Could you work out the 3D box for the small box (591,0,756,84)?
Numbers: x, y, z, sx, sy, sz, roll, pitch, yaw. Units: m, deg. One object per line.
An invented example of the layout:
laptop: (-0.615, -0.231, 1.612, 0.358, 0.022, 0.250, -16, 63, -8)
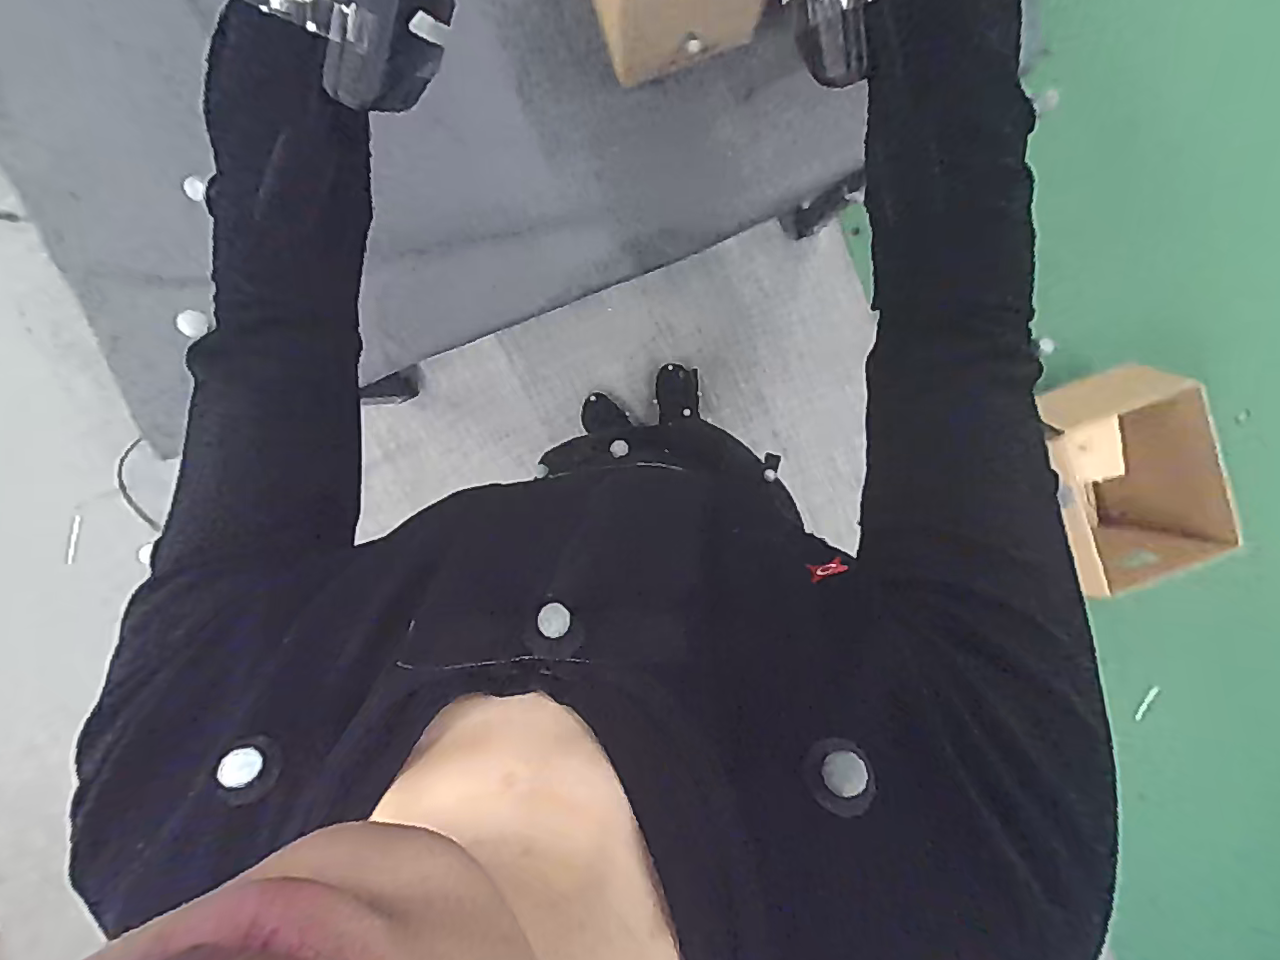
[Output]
small box: (0.024, -0.569, 0.561, 0.168, 0.176, 0.179, -19, 99, 2)
